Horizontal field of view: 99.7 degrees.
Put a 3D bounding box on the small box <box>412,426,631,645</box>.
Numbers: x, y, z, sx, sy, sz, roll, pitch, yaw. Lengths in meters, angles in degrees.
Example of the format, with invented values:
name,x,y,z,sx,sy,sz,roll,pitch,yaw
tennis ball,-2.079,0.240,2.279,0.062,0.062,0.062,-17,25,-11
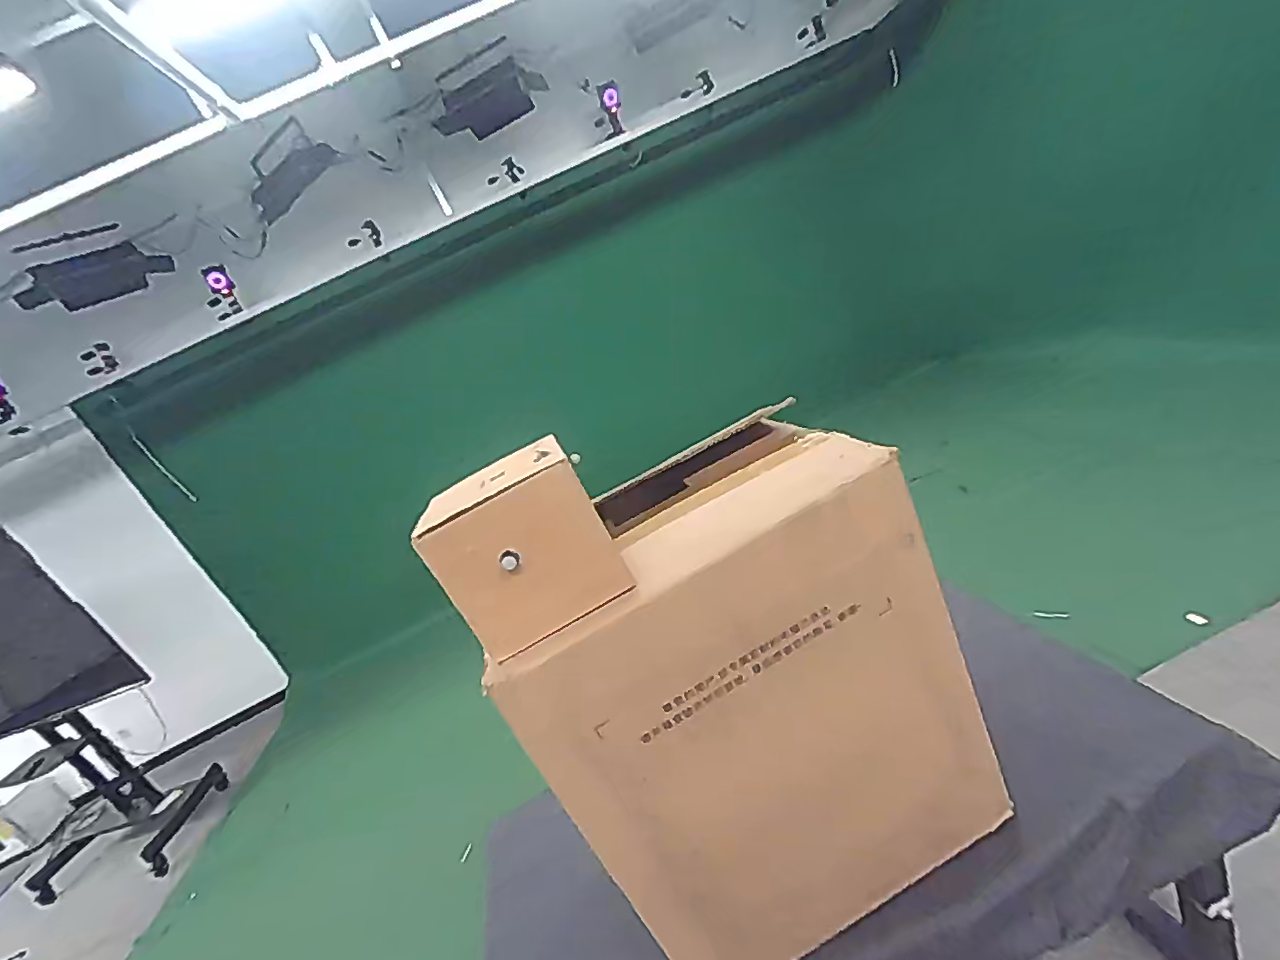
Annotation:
name,x,y,z,sx,sy,sz,roll,pitch,yaw
small box,-0.134,0.060,0.643,0.179,0.176,0.168,-30,20,-5
